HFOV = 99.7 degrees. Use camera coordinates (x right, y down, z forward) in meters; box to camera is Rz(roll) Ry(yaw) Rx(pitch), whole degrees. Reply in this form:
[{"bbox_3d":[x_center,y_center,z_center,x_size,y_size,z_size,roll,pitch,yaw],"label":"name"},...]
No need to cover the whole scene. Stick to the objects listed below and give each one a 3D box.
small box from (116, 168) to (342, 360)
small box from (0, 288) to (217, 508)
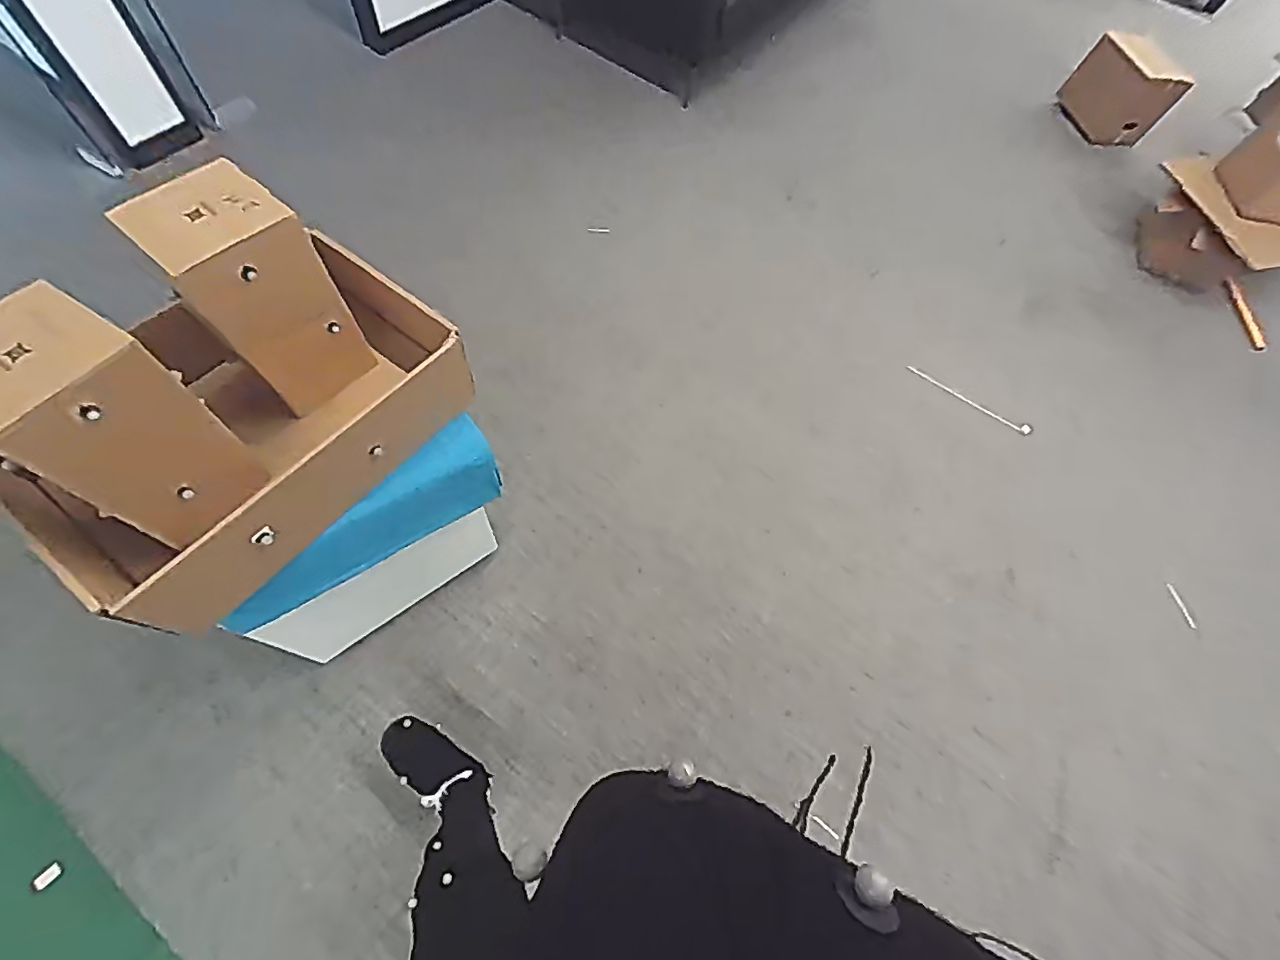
[{"bbox_3d":[-0.589,-0.313,0.802,0.168,0.176,0.179,39,65,13],"label":"small box"},{"bbox_3d":[-0.698,-0.095,0.677,0.168,0.176,0.179,31,63,10],"label":"small box"}]
